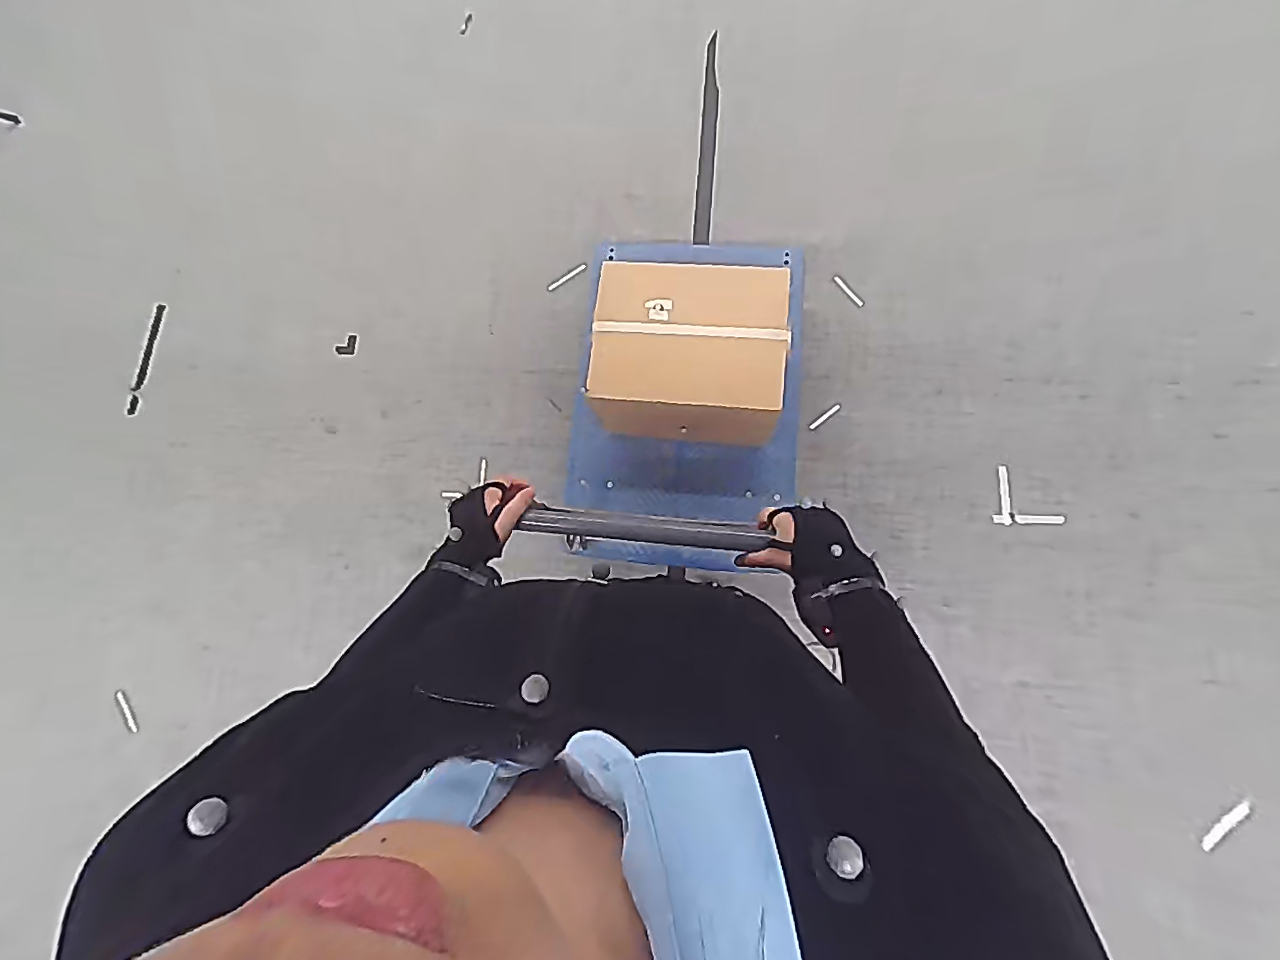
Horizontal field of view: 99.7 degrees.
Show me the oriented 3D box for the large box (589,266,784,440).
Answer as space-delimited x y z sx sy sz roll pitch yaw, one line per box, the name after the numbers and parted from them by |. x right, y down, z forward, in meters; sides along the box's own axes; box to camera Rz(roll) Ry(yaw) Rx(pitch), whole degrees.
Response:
0.119 -0.286 1.292 0.408 0.320 0.320 4 79 8 | large box
